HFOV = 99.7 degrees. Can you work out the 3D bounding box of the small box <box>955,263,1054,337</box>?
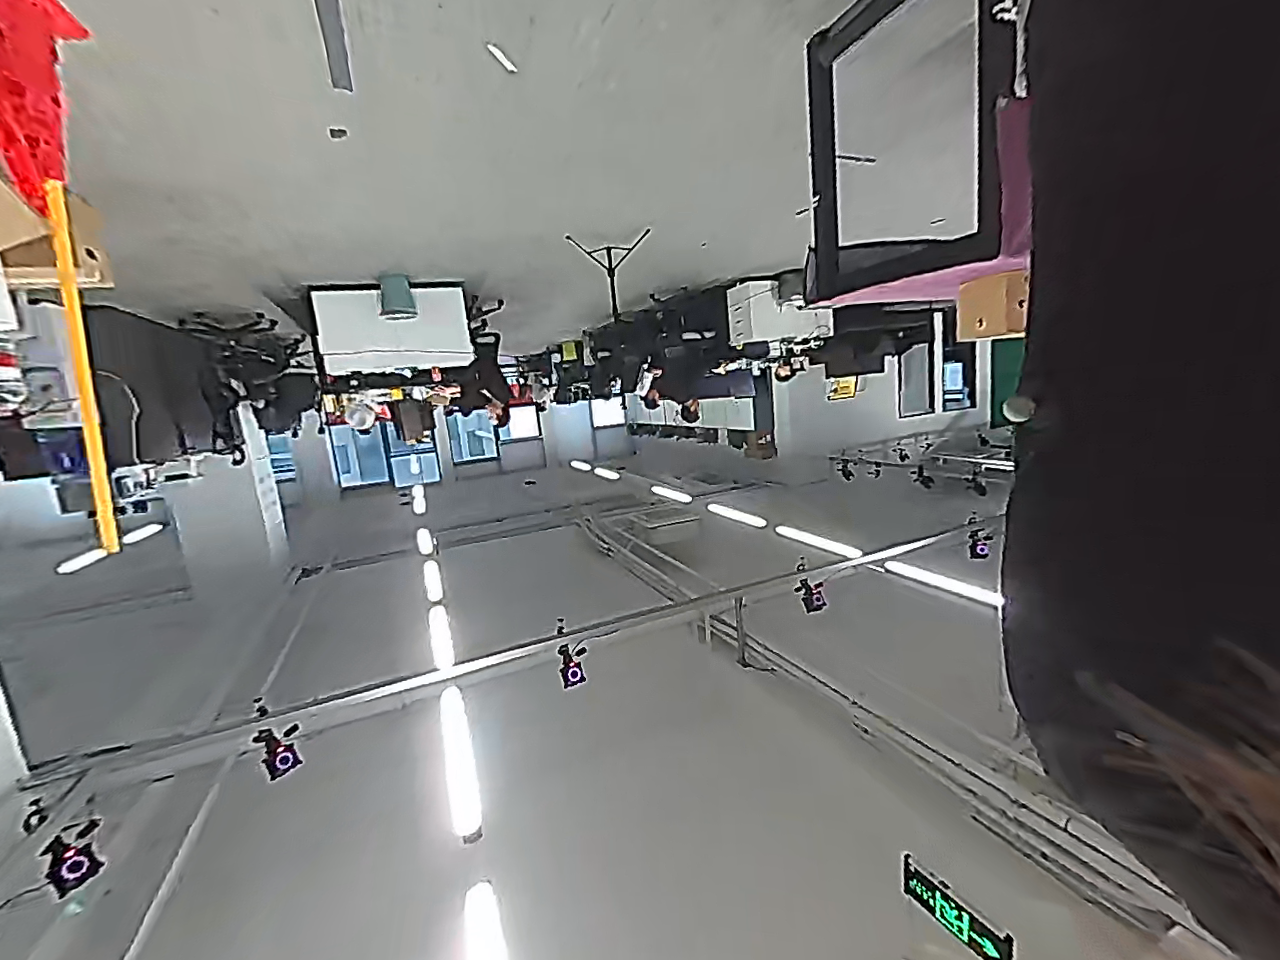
[{"bbox_3d":[1.005,-0.500,1.502,0.168,0.176,0.179,-8,-169,-10],"label":"small box"}]
